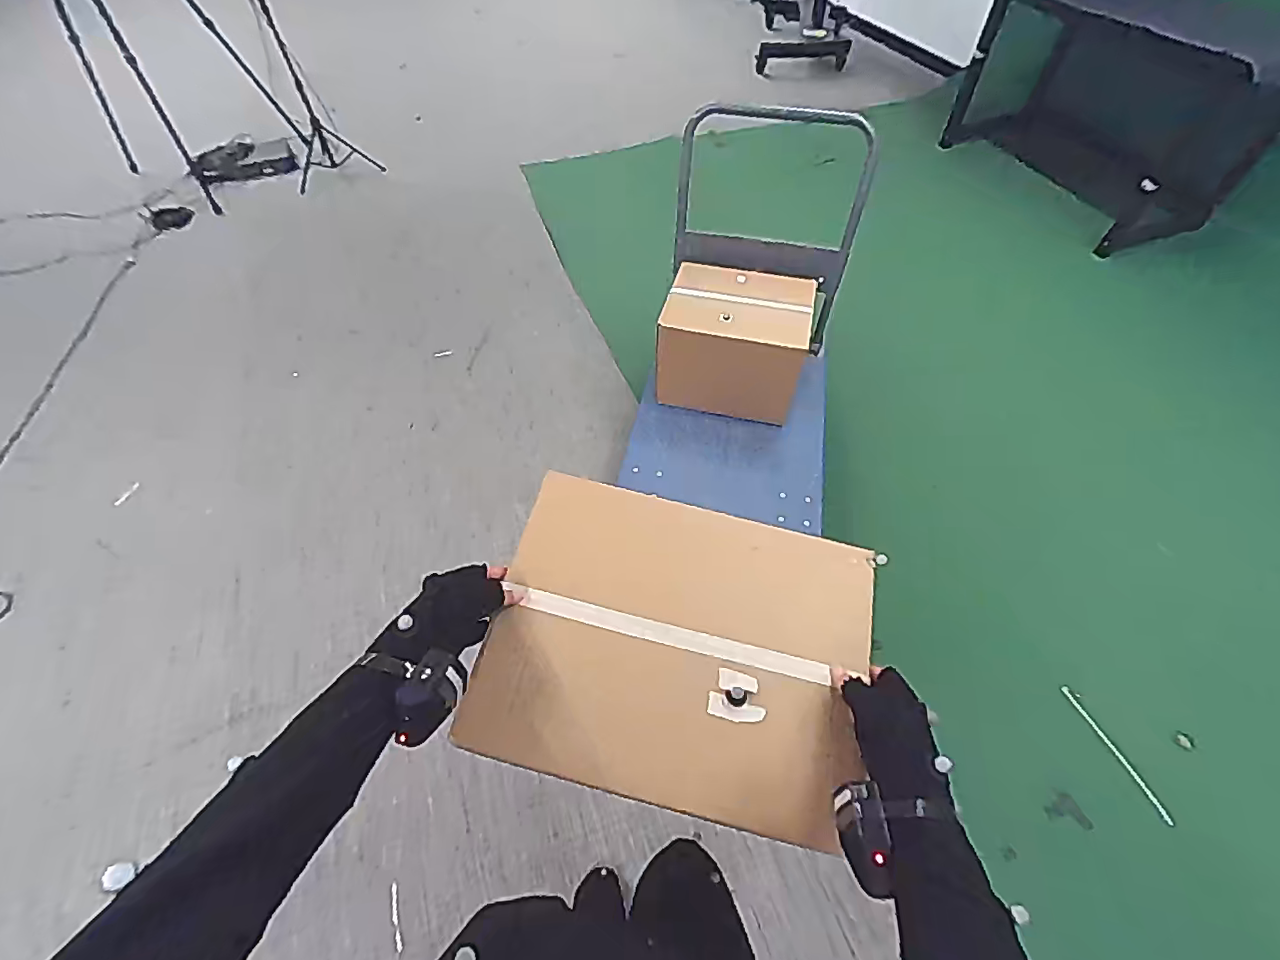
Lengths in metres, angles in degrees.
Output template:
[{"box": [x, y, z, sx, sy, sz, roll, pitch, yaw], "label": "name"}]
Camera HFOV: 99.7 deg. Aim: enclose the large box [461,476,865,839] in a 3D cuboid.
[{"box": [0.034, 0.238, 0.722, 0.408, 0.320, 0.320, 14, 63, 3], "label": "large box"}]
